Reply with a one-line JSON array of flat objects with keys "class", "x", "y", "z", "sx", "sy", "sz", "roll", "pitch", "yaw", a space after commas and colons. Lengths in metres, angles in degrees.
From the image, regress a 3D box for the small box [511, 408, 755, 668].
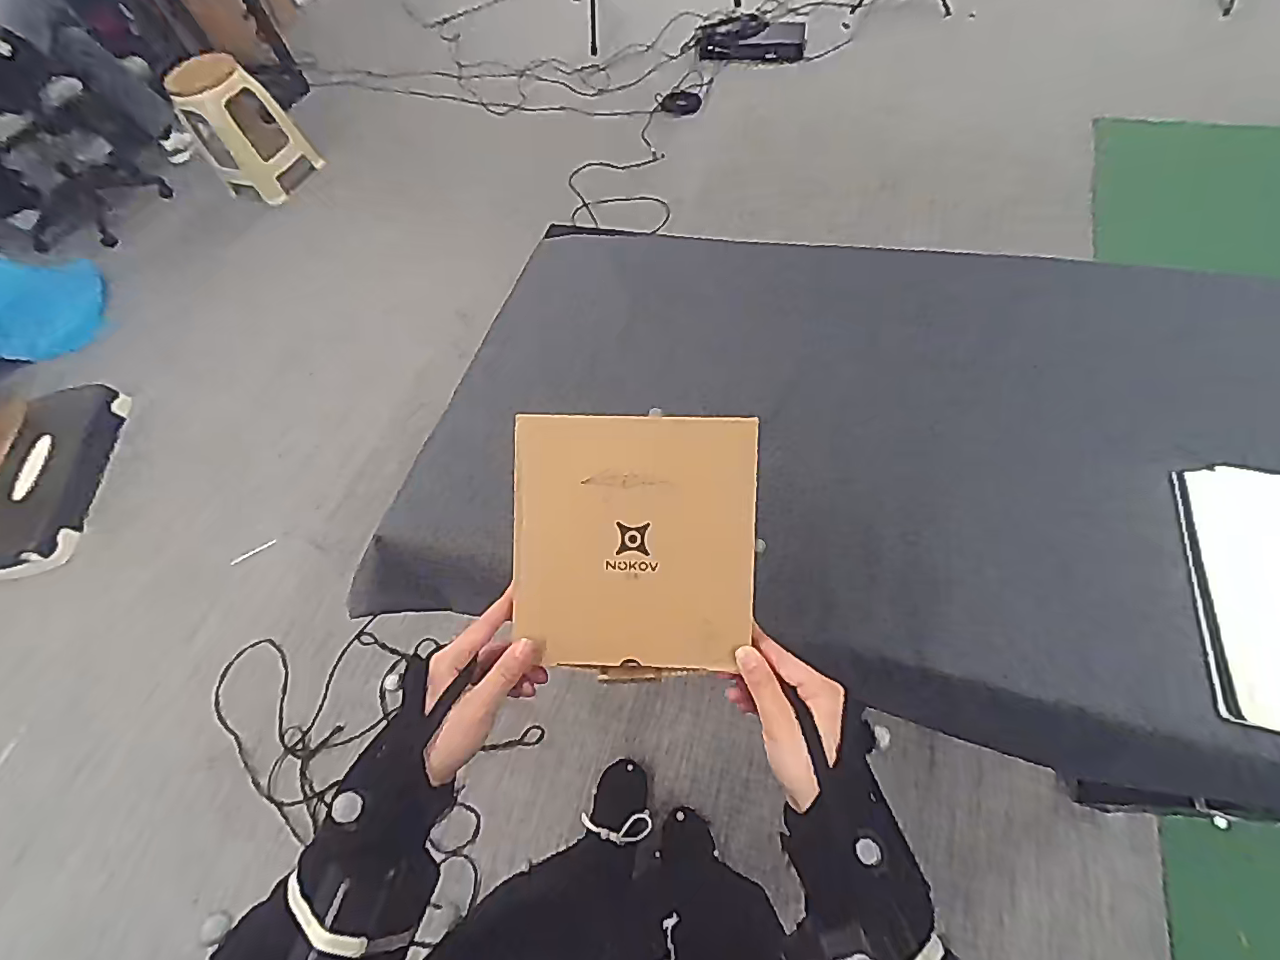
[{"class": "small box", "x": -0.002, "y": 0.037, "z": 0.447, "sx": 0.168, "sy": 0.176, "sz": 0.179, "roll": 1, "pitch": 91, "yaw": 2}]
